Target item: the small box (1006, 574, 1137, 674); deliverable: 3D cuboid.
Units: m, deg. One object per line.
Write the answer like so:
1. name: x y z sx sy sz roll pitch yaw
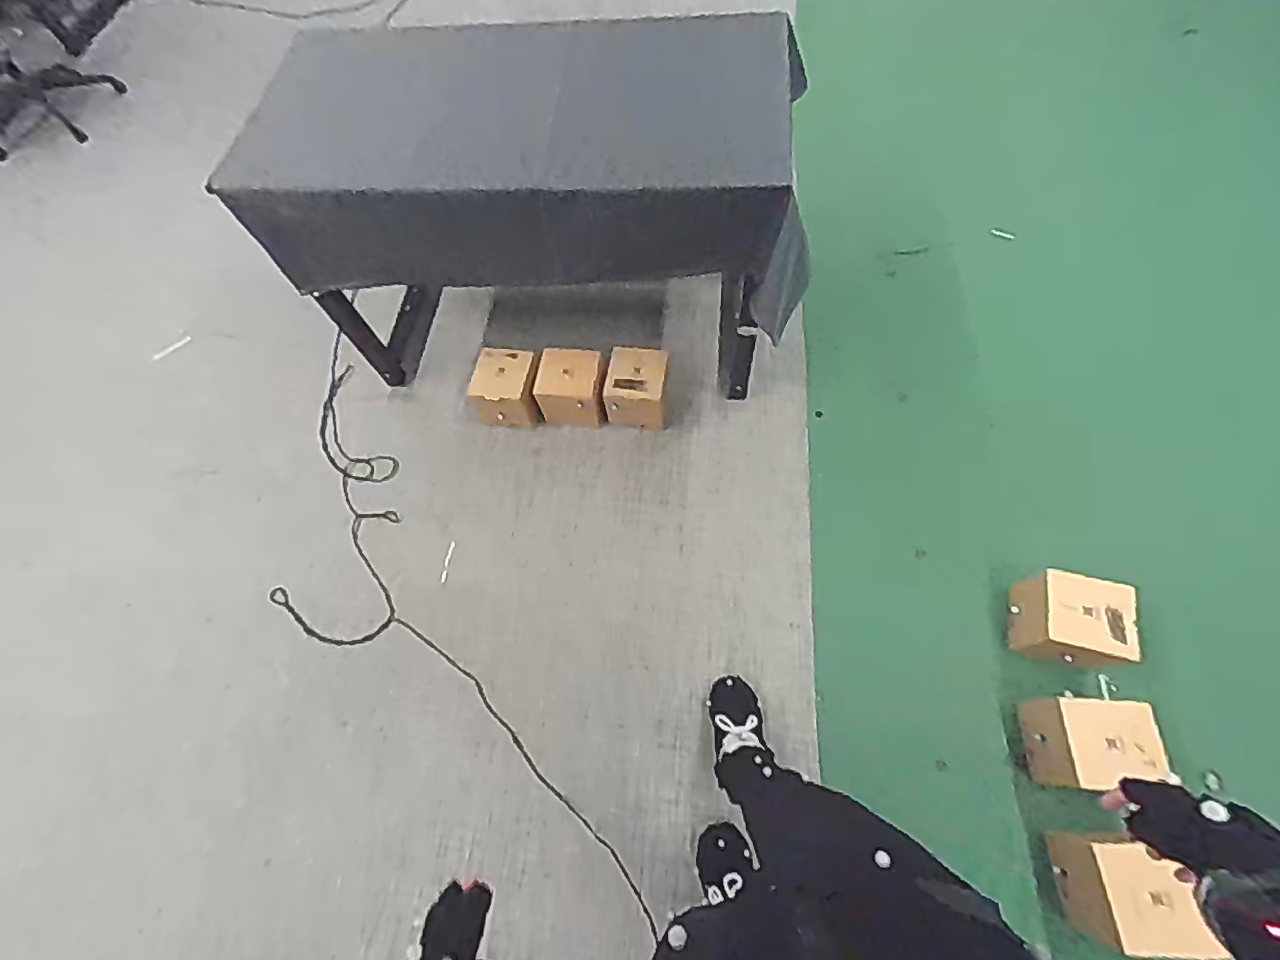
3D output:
1. small box: 0.983 0.337 1.244 0.179 0.176 0.168 13 65 12

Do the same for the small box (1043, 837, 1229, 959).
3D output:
1. small box: 0.924 0.790 1.028 0.179 0.176 0.168 -1 64 4

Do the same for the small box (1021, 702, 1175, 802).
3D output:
1. small box: 0.938 0.566 1.134 0.179 0.176 0.168 2 65 5
